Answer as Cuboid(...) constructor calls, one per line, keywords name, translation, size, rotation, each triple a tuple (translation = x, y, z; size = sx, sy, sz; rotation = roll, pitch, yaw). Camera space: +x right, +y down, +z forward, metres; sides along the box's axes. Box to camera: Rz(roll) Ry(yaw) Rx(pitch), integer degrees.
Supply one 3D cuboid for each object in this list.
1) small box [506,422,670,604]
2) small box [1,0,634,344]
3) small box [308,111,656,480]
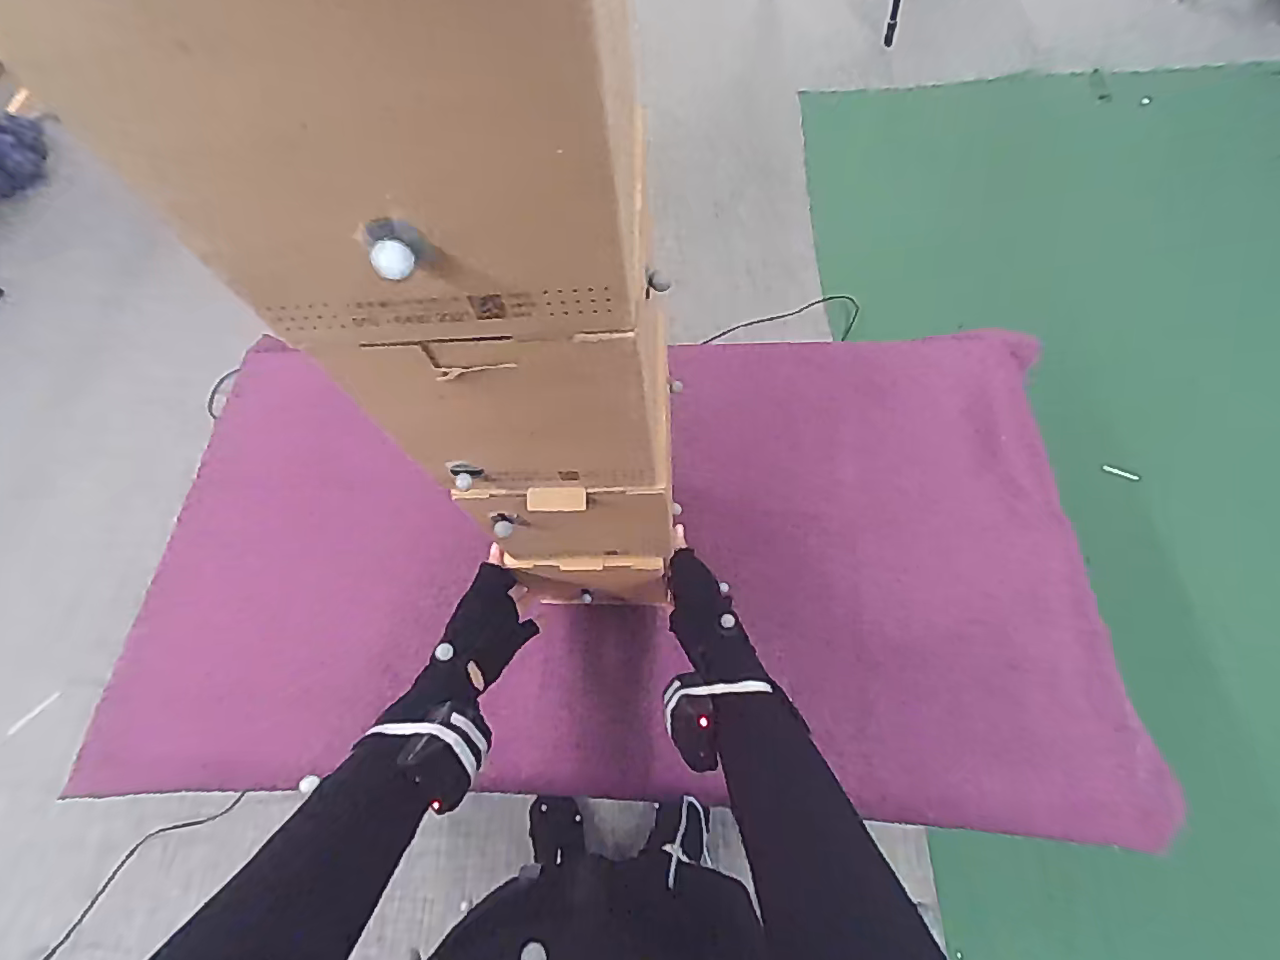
Cuboid(name="small box", translation=(-0.049, 0.045, 0.659), size=(0.168, 0.176, 0.179), rotation=(0, 66, 5))
Cuboid(name="small box", translation=(-0.093, -0.179, 0.220), size=(0.168, 0.176, 0.179), rotation=(-2, 64, 5))
Cuboid(name="small box", translation=(-0.076, -0.108, 0.367), size=(0.168, 0.176, 0.179), rotation=(-1, 64, 4))
